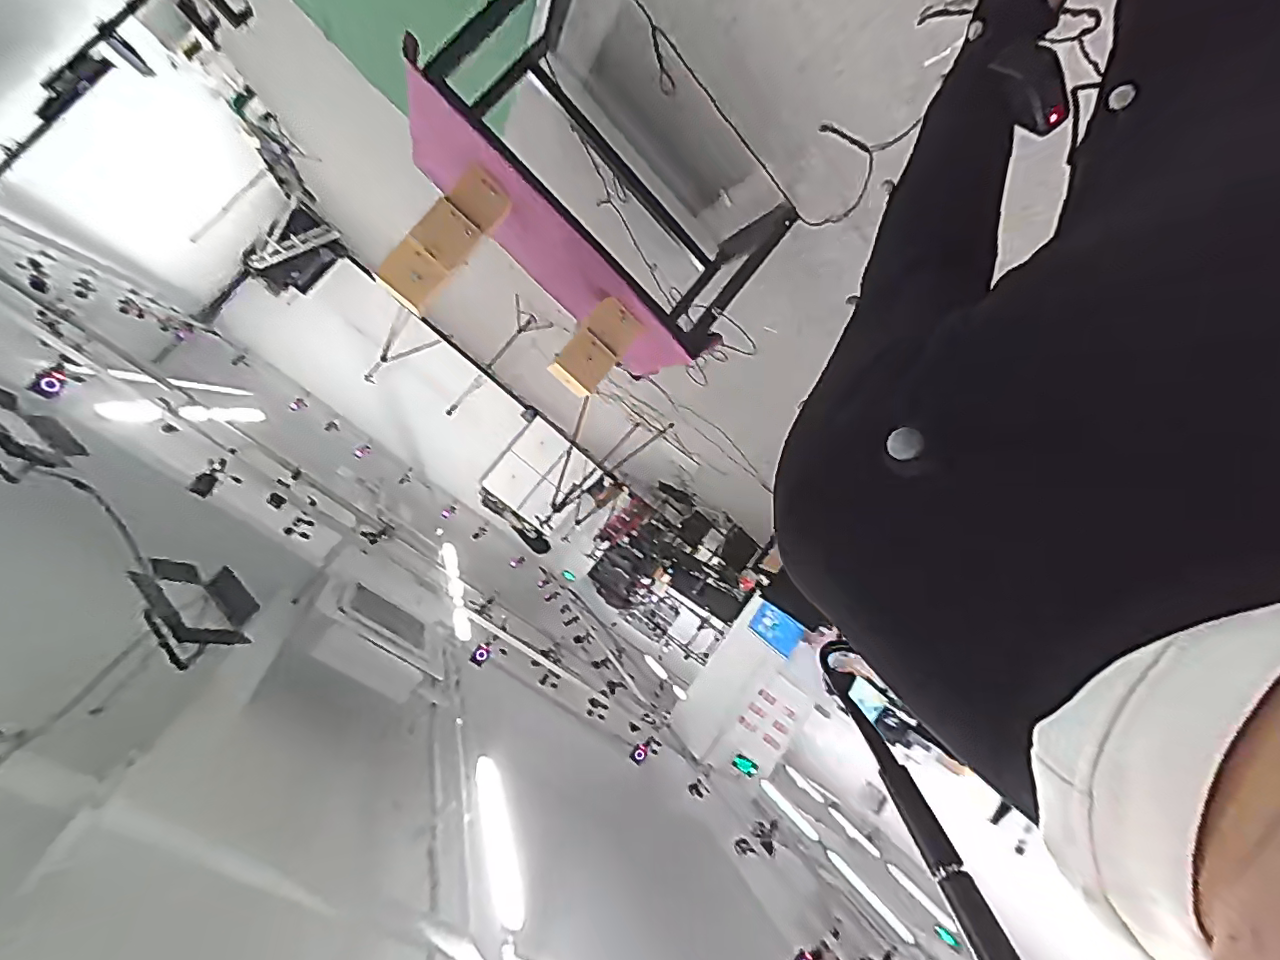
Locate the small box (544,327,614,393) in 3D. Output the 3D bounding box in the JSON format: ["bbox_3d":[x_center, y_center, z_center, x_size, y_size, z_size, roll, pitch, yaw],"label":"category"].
[{"bbox_3d":[-0.219,-0.438,1.970,0.168,0.176,0.179,42,170,-20],"label":"small box"}]

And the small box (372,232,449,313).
[{"bbox_3d":[-0.752,-0.684,1.787,0.168,0.176,0.179,39,173,-19],"label":"small box"}]

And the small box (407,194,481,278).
[{"bbox_3d":[-0.650,-0.810,1.799,0.168,0.176,0.179,40,173,-21],"label":"small box"}]

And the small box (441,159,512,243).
[{"bbox_3d":[-0.559,-0.941,1.839,0.168,0.176,0.179,40,172,-23],"label":"small box"}]
